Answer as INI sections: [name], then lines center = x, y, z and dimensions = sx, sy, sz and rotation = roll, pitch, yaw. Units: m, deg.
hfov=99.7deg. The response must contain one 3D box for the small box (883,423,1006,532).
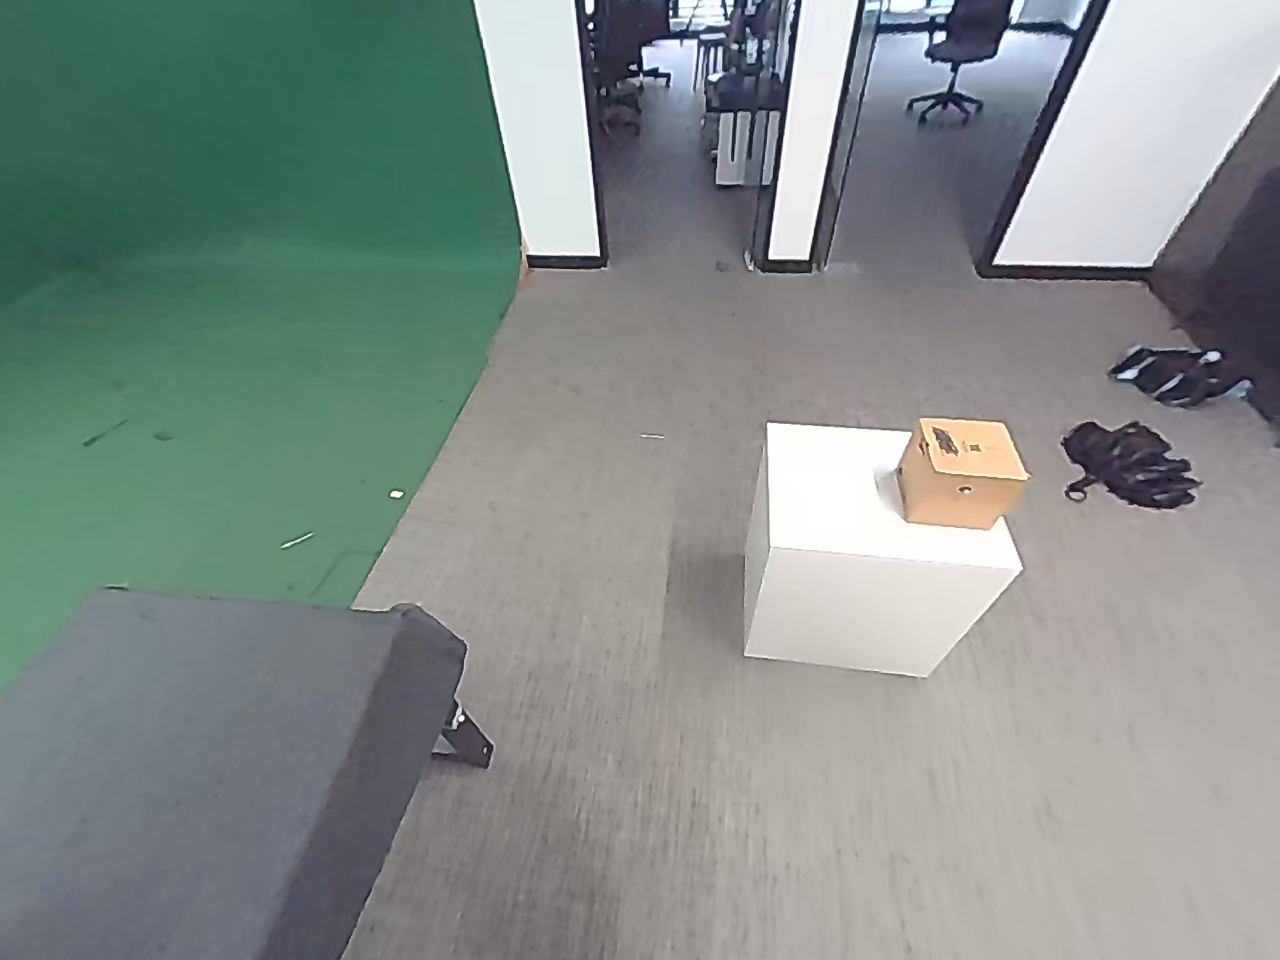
[small box]
center = 0.654, -0.003, 1.191
dimensions = 0.179, 0.176, 0.168
rotation = 6, 48, 4
